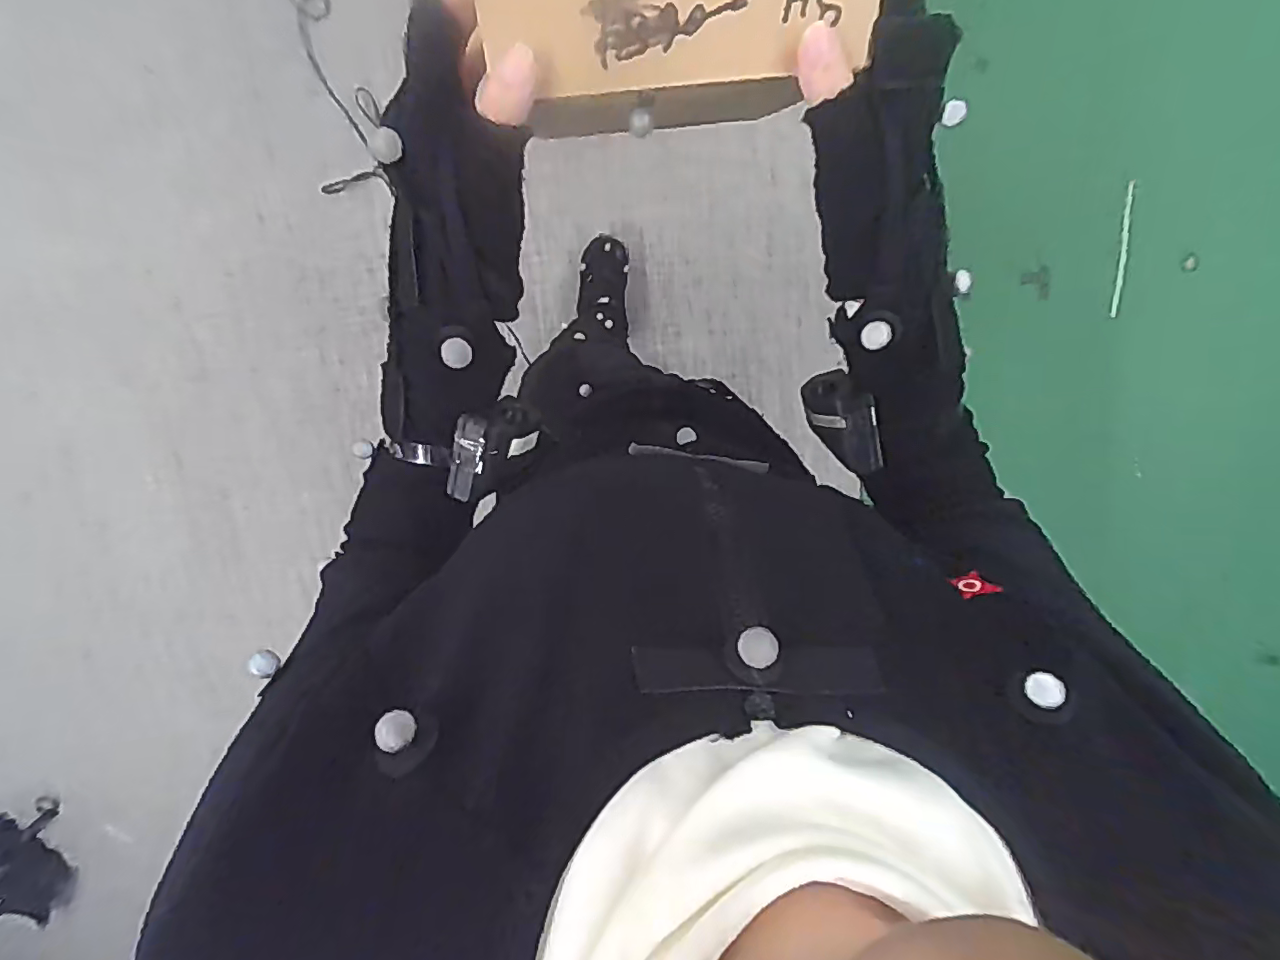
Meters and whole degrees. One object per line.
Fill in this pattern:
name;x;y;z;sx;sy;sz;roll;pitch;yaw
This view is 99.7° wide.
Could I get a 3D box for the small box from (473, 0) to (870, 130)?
small box;0.004;-0.289;0.262;0.168;0.176;0.179;-6;117;-1
